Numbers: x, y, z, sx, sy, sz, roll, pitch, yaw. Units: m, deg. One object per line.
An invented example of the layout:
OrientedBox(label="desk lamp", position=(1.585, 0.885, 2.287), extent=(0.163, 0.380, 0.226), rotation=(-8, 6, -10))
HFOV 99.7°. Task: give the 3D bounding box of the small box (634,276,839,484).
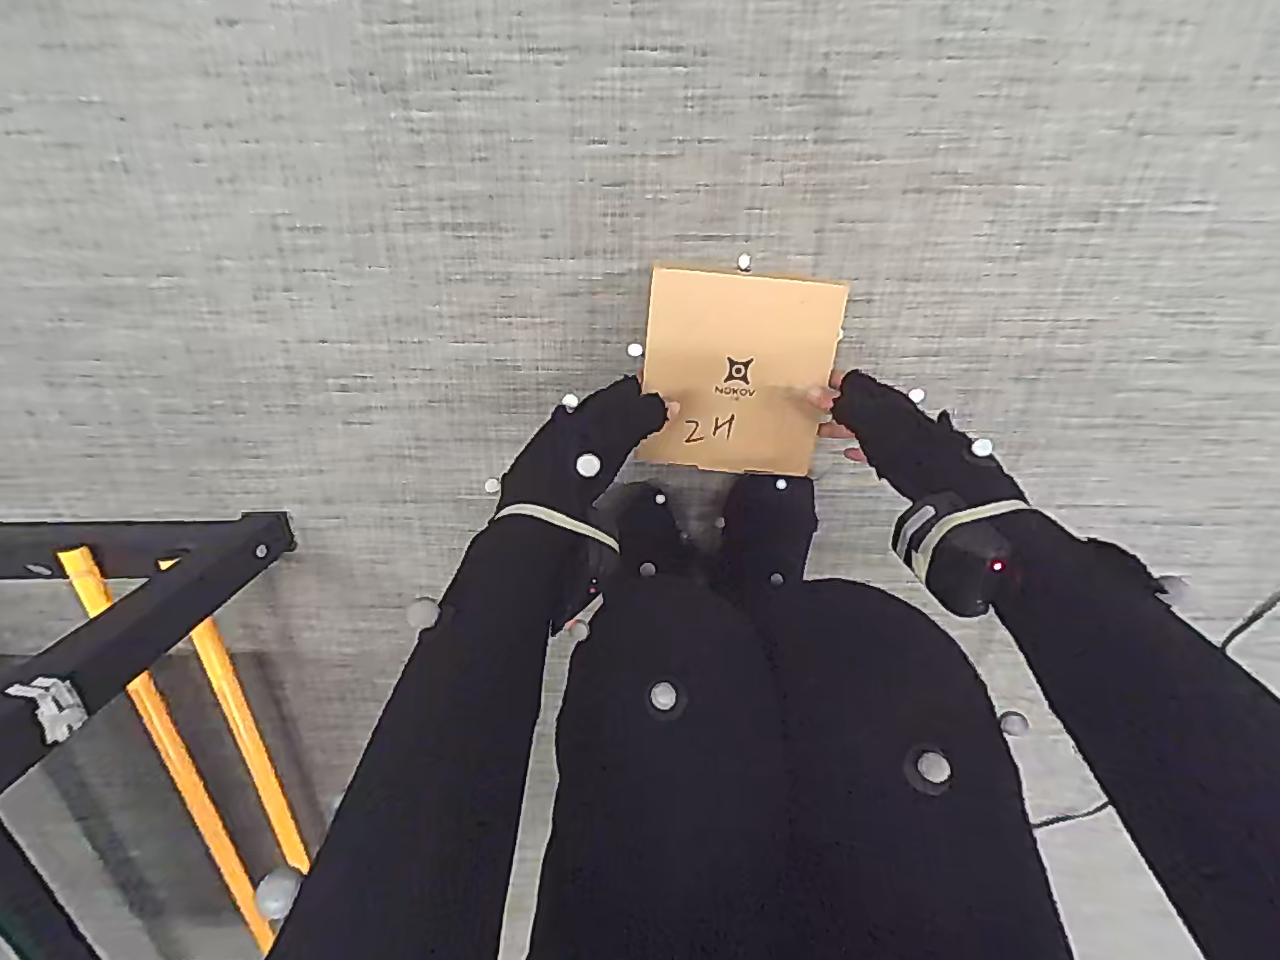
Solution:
OrientedBox(label="small box", position=(0.083, -0.112, 0.560), extent=(0.168, 0.176, 0.179), rotation=(5, 113, 0))
